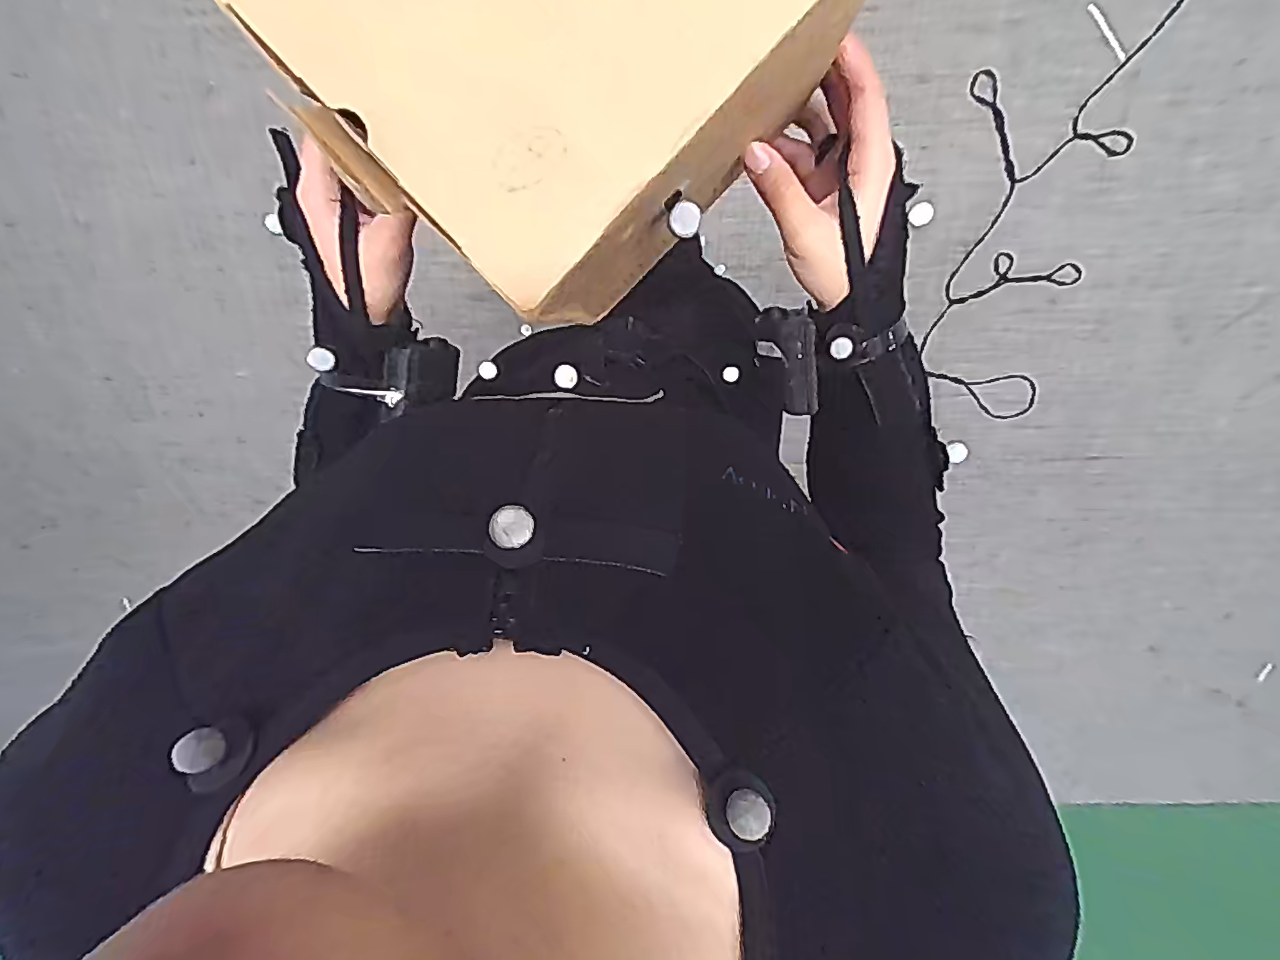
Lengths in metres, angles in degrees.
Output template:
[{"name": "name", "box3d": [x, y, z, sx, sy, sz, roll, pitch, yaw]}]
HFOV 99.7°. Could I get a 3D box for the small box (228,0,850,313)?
[{"name": "small box", "box3d": [-0.026, -0.196, 0.251, 0.179, 0.176, 0.168, -43, 99, 14]}]
